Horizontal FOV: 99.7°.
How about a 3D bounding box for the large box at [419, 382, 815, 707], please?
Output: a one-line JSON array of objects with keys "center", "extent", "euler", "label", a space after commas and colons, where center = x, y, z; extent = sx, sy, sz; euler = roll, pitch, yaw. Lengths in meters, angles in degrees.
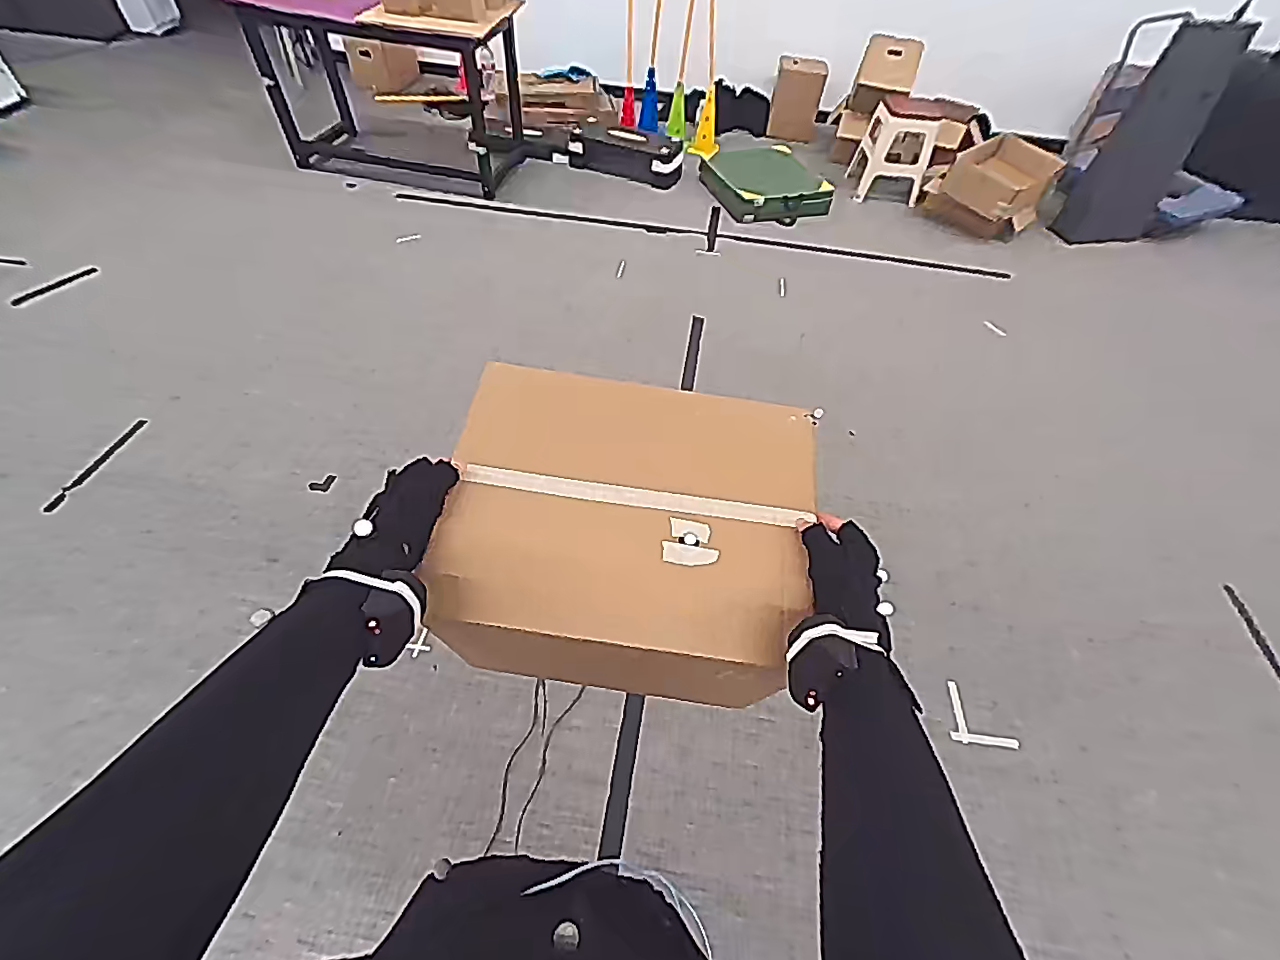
[{"center": [-0.020, 0.105, 0.733], "extent": [0.408, 0.320, 0.320], "euler": [8, 61, -1], "label": "large box"}]
